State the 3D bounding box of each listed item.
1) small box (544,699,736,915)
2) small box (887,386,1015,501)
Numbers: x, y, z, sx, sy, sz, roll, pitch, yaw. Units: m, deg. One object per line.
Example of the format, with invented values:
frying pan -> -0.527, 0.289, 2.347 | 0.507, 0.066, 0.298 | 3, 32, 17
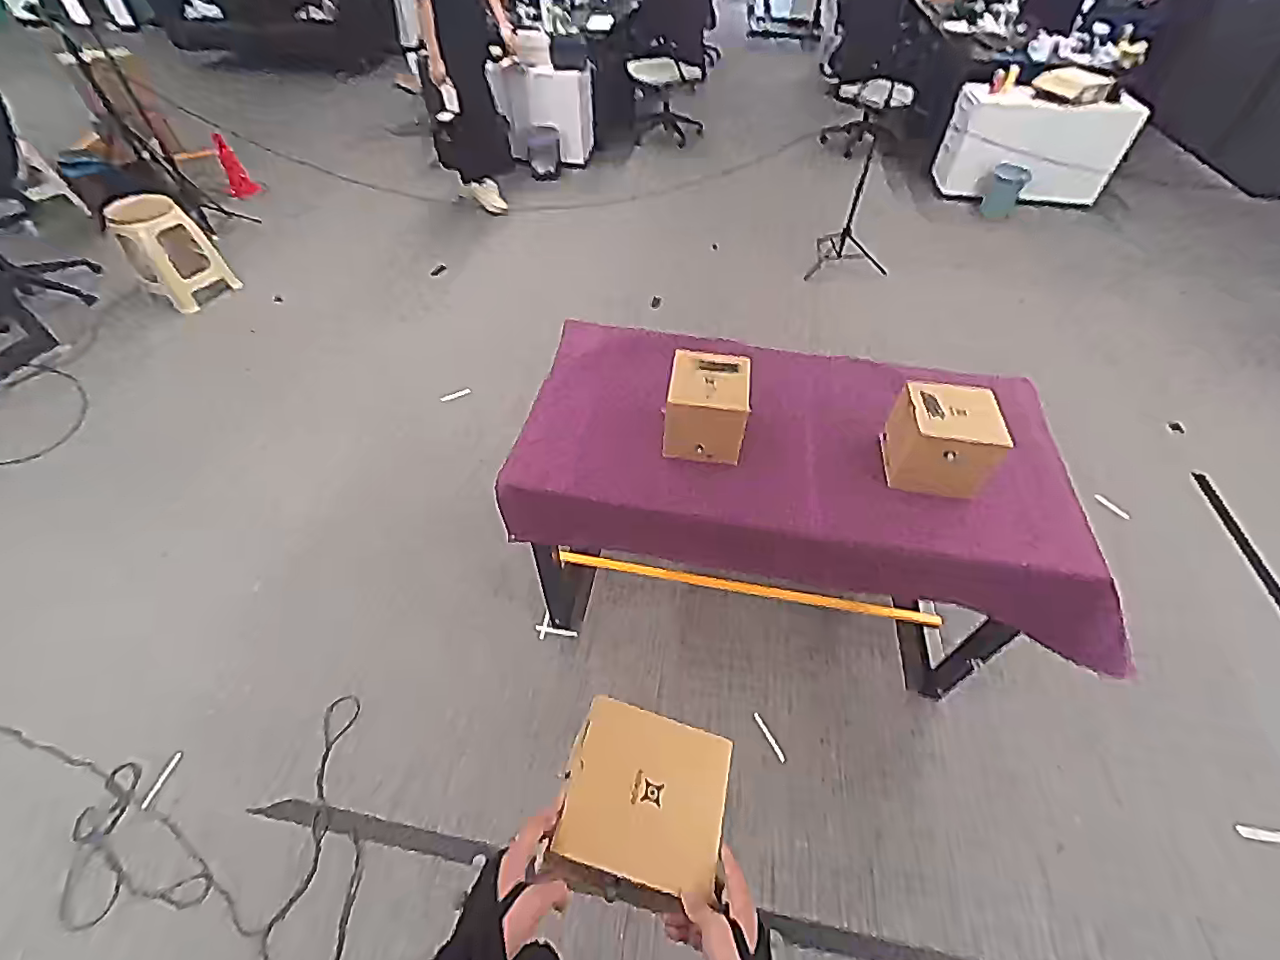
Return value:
small box -> -0.003, 0.396, 0.650 | 0.179, 0.176, 0.168 | 18, 47, 2
small box -> 0.636, -0.074, 1.138 | 0.179, 0.176, 0.168 | 8, 50, 6
